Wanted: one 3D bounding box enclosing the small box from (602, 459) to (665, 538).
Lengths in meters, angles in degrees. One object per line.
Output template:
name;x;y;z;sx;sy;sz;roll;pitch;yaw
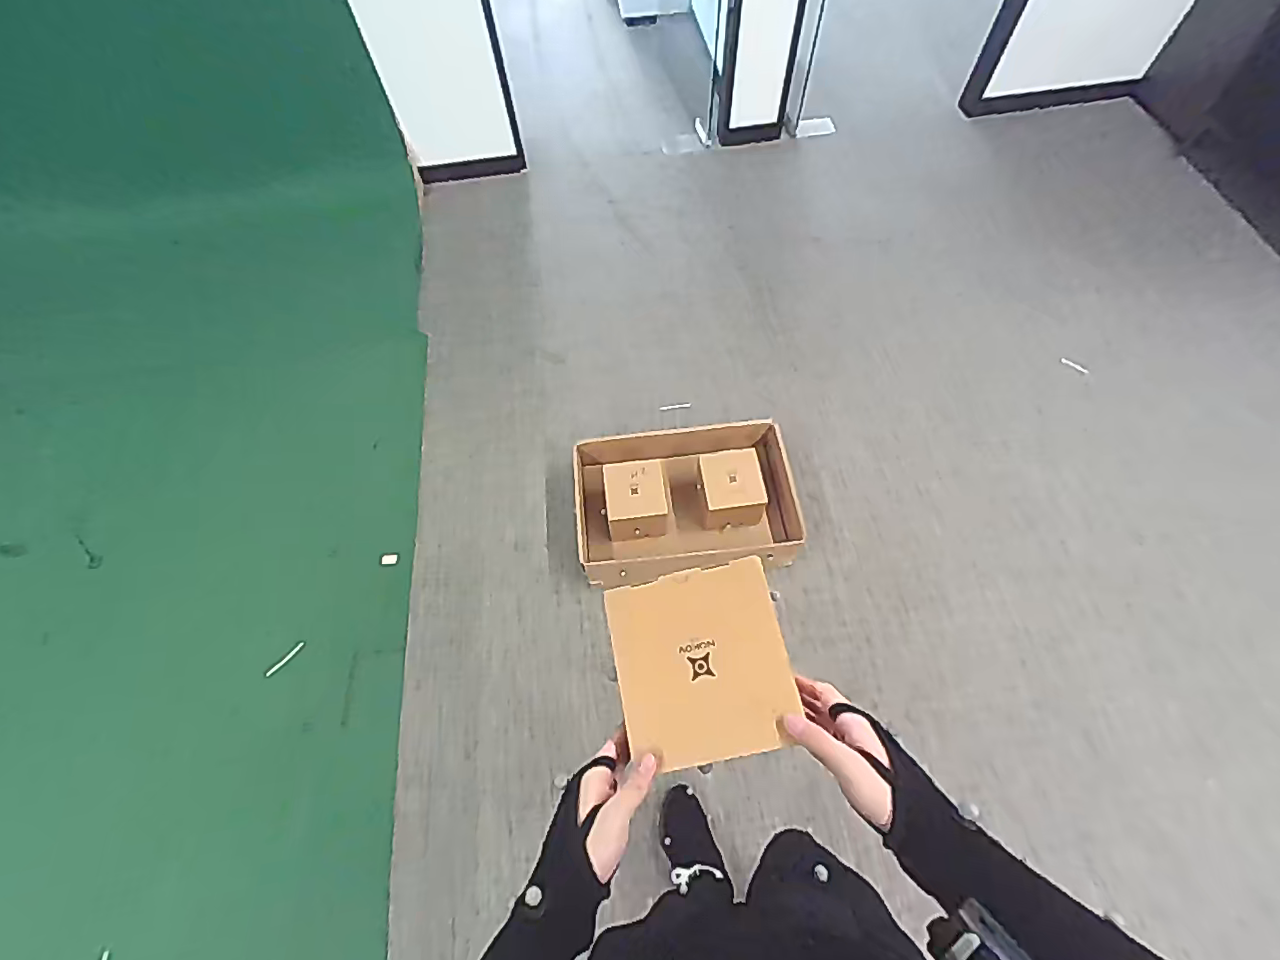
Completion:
small box;-0.018;0.060;1.564;0.168;0.176;0.179;-6;62;-2

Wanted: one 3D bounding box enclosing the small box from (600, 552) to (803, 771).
small box;0.066;0.196;0.590;0.168;0.176;0.179;-14;67;4

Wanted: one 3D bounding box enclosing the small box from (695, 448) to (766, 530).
small box;0.255;0.030;1.573;0.168;0.176;0.179;-7;63;0
